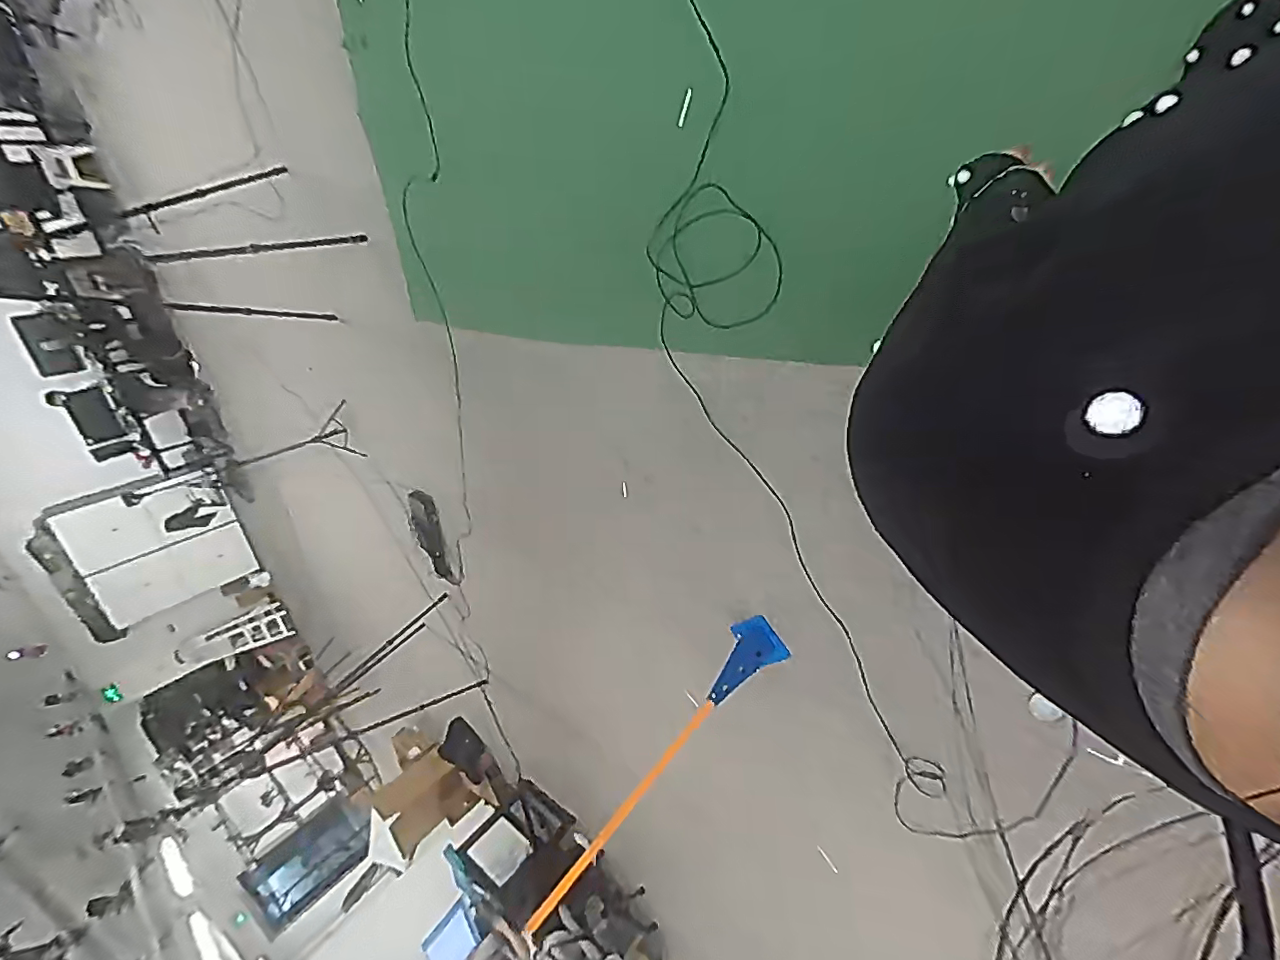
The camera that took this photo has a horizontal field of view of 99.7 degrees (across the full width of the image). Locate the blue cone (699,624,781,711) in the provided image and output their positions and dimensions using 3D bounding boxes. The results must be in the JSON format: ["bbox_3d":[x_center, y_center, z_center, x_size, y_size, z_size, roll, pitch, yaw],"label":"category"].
[{"bbox_3d":[0.346,0.732,2.023,0.192,0.380,0.193,52,139,5],"label":"blue cone"}]
